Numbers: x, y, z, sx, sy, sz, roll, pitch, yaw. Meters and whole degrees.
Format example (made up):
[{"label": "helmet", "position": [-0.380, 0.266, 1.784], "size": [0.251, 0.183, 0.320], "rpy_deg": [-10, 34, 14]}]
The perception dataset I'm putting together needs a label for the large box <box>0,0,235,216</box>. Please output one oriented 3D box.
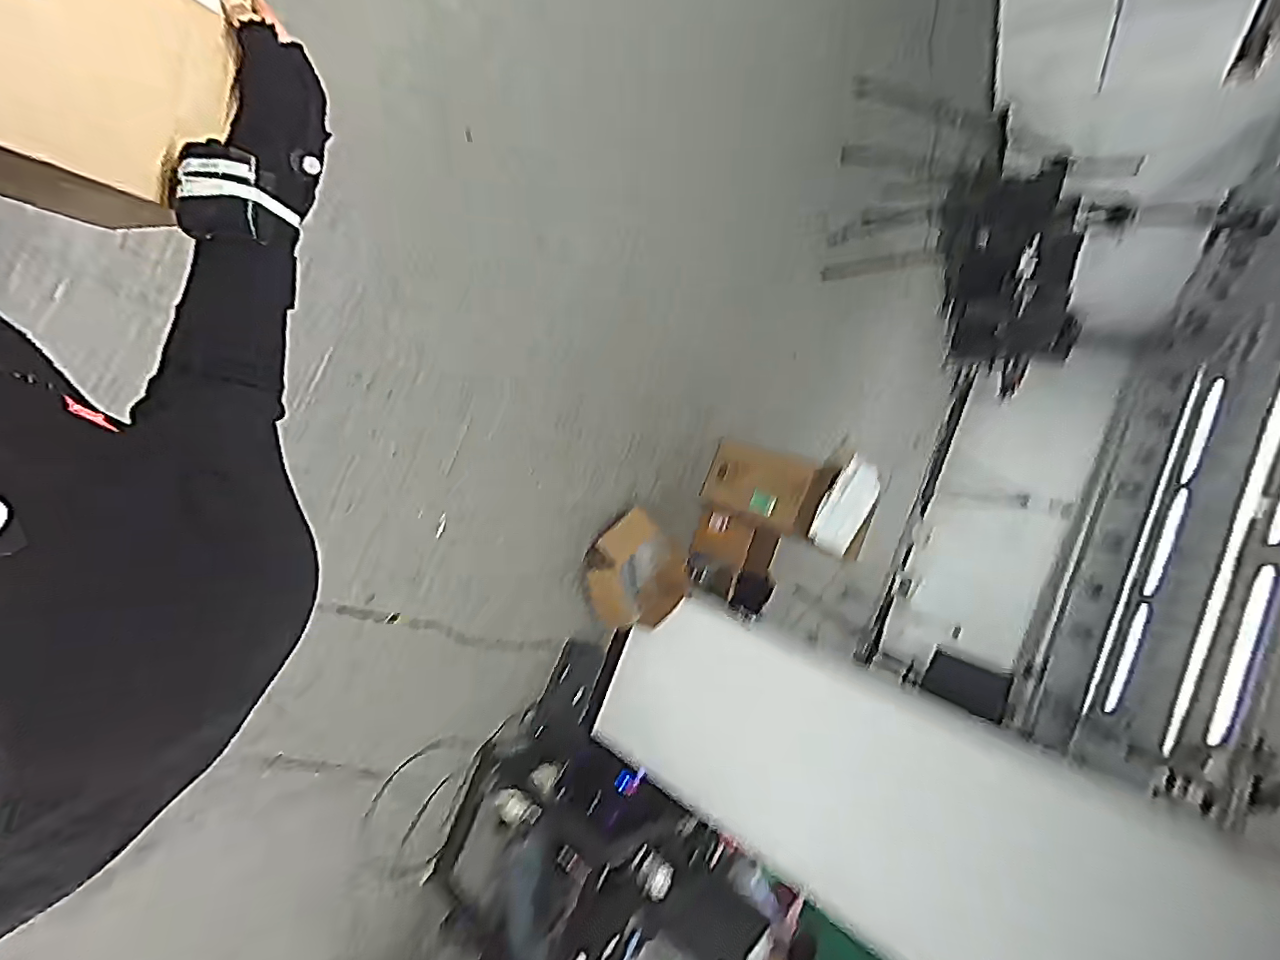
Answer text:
[{"label": "large box", "position": [-0.547, -0.403, 0.333], "size": [0.408, 0.320, 0.320], "rpy_deg": [2, 102, -58]}]
